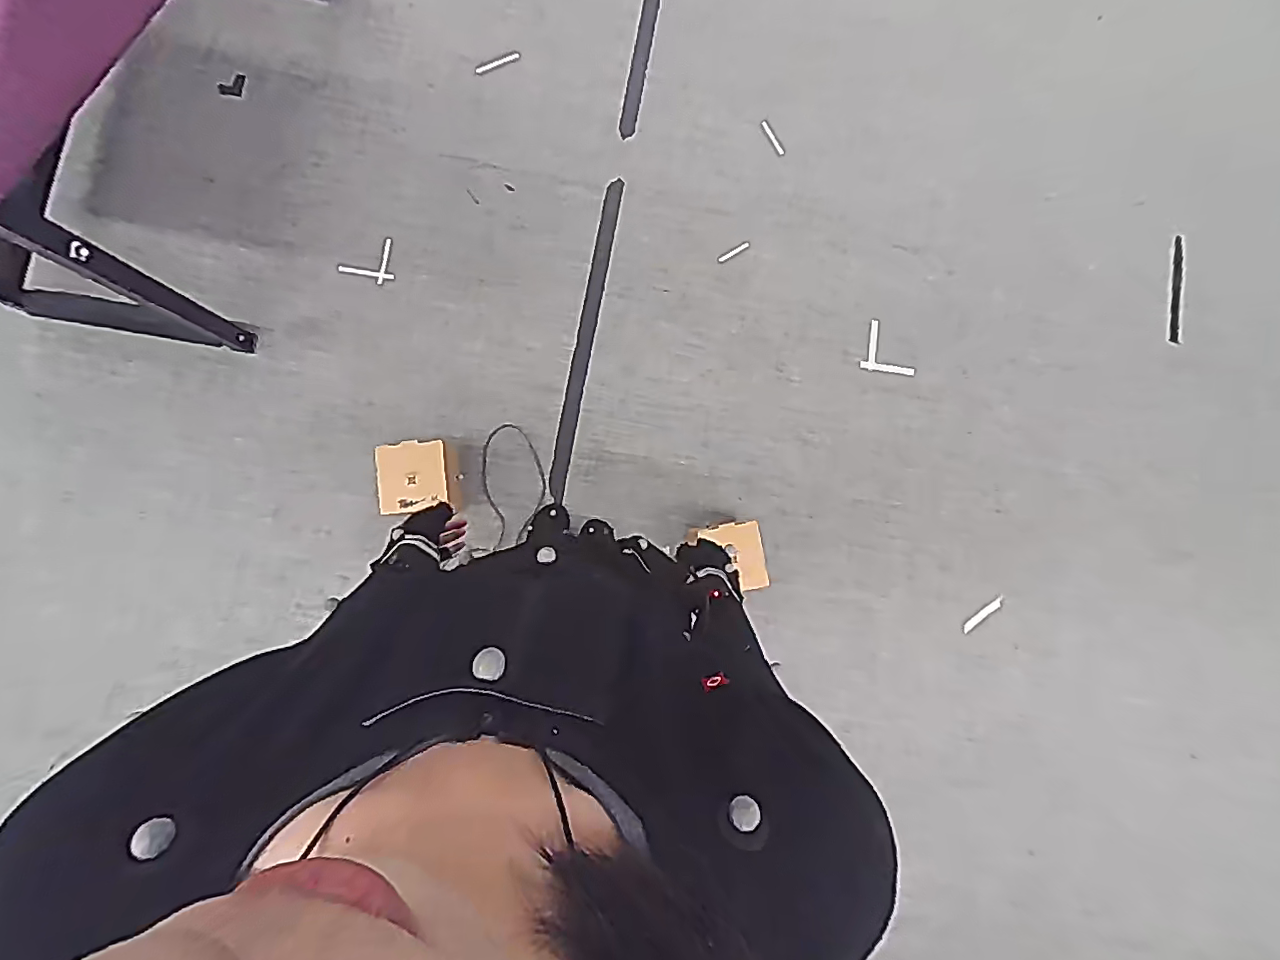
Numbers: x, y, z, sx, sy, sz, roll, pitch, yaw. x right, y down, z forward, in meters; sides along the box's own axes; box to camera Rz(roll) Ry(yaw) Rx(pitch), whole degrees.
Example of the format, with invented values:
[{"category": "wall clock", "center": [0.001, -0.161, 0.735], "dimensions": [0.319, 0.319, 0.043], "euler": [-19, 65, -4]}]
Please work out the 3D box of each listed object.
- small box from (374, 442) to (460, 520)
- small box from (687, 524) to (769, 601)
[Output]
[{"category": "small box", "center": [-0.575, 0.008, 1.411], "dimensions": [0.168, 0.176, 0.179], "euler": [-6, 85, -6]}, {"category": "small box", "center": [0.231, 0.218, 1.466], "dimensions": [0.168, 0.176, 0.179], "euler": [-10, 87, -5]}]
